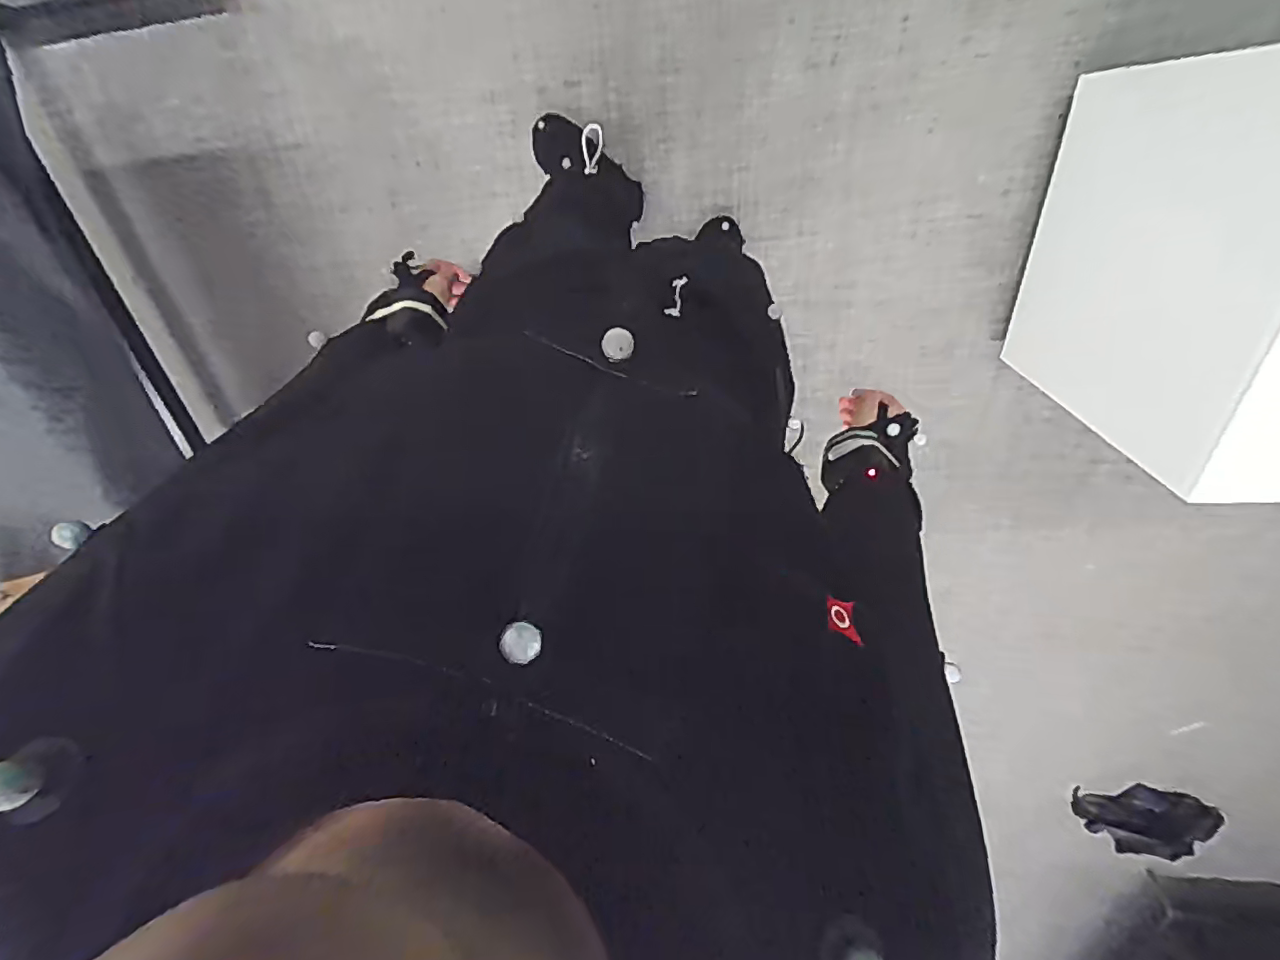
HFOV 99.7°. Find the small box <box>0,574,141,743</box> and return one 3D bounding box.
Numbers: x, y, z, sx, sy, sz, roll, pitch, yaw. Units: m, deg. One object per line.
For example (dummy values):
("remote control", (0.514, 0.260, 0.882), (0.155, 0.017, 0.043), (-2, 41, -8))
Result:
("small box", (-0.937, 0.271, 0.820), (0.168, 0.176, 0.179), (-13, 119, 15))
